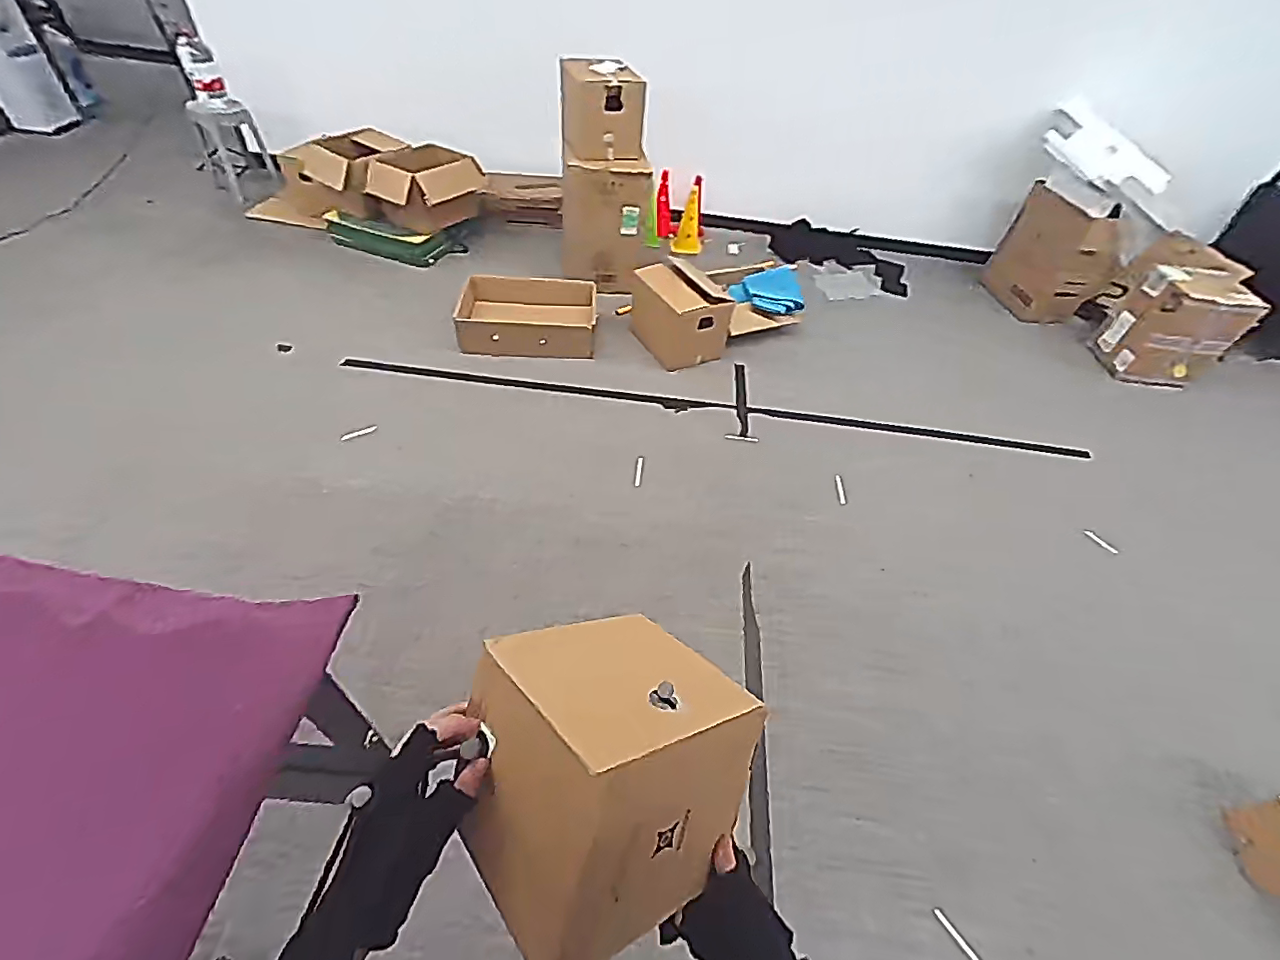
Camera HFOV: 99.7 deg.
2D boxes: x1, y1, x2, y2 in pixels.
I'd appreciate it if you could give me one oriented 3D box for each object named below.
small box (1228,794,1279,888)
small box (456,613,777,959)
[{"bbox_3d":[1.645,0.914,1.337,0.168,0.176,0.179,16,47,8],"label":"small box"},{"bbox_3d":[-0.023,0.221,0.437,0.179,0.168,0.176,3,11,-41],"label":"small box"}]
